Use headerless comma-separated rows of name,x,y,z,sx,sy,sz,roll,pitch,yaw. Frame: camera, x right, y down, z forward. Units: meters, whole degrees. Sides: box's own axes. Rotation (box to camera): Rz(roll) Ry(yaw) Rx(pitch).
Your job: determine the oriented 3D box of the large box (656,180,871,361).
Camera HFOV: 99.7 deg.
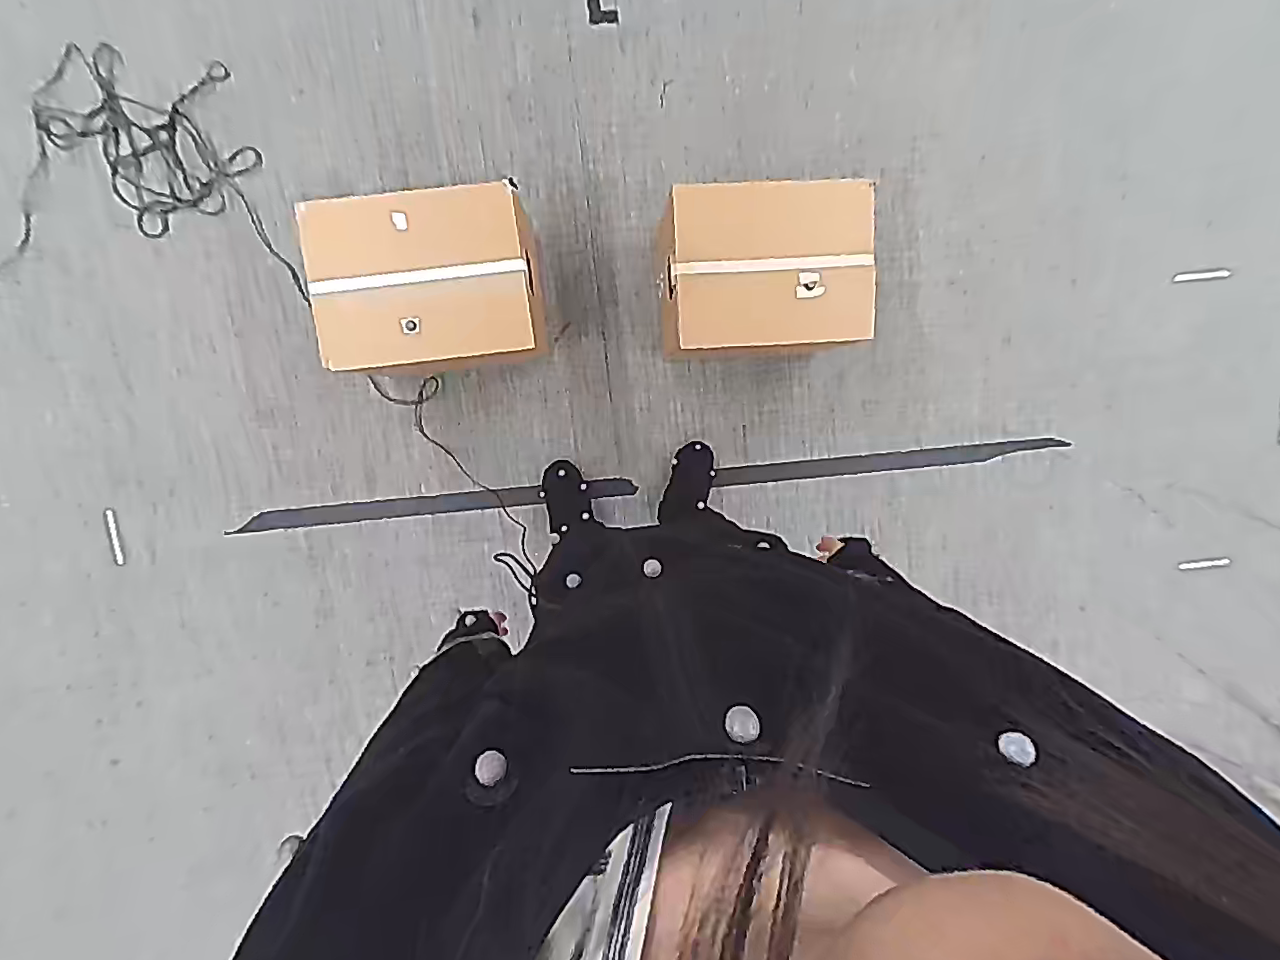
large box,0.258,-0.452,1.230,0.408,0.320,0.320,-4,98,-4
